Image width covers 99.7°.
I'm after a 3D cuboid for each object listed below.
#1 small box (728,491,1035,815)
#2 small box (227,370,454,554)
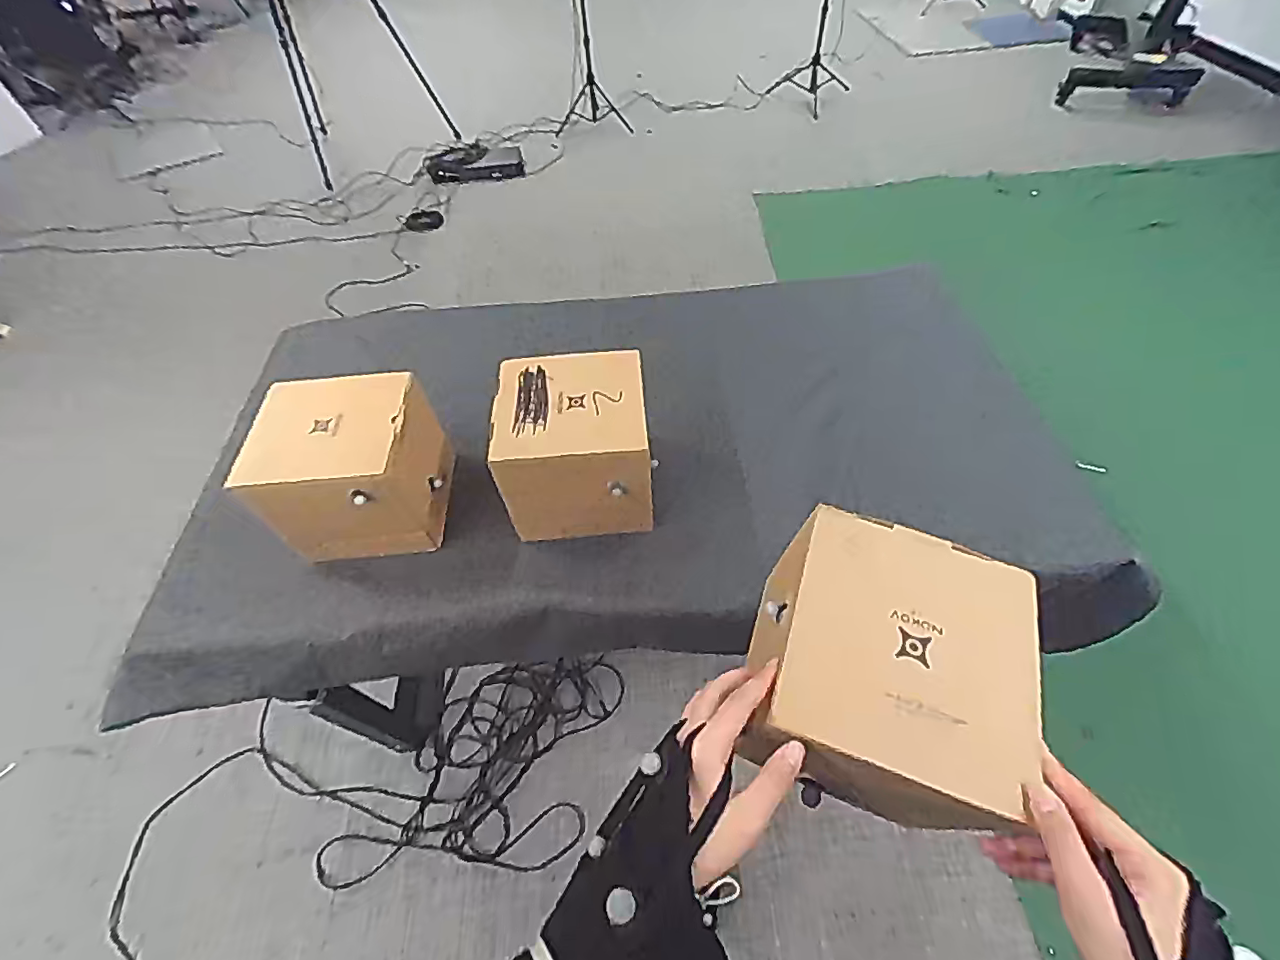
[{"bbox_3d":[0.181,0.144,0.440,0.168,0.176,0.179,20,59,9],"label":"small box"},{"bbox_3d":[-0.358,-0.017,0.687,0.179,0.176,0.168,-5,53,-1],"label":"small box"}]
